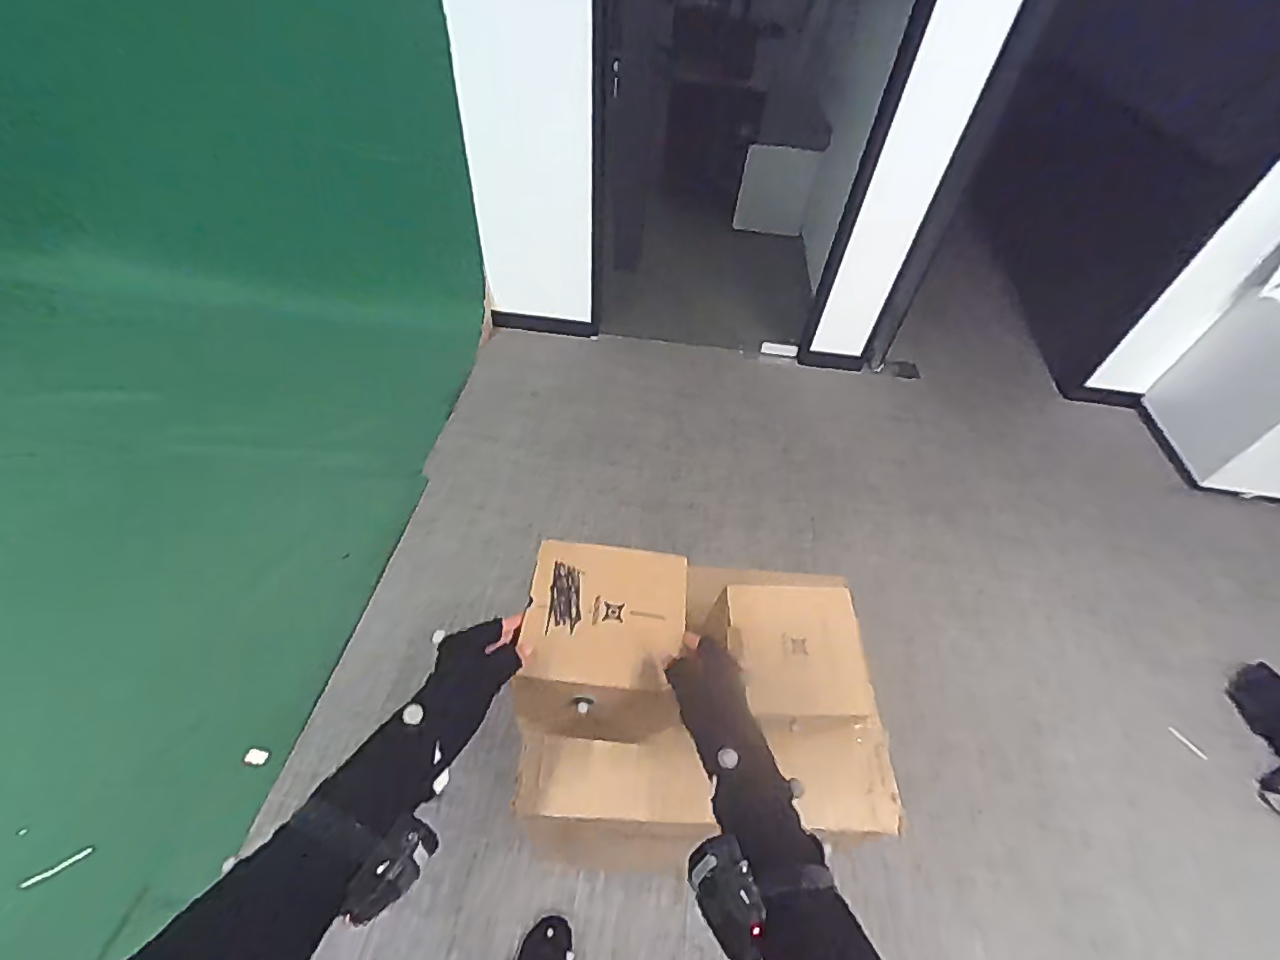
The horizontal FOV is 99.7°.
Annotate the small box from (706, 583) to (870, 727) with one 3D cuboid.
[{"bbox_3d":[0.195,0.257,0.776,0.179,0.176,0.168,3,59,-5],"label":"small box"}]

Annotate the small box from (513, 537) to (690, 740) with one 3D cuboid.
[{"bbox_3d":[-0.041,0.191,0.639,0.179,0.176,0.168,8,47,-2],"label":"small box"}]
